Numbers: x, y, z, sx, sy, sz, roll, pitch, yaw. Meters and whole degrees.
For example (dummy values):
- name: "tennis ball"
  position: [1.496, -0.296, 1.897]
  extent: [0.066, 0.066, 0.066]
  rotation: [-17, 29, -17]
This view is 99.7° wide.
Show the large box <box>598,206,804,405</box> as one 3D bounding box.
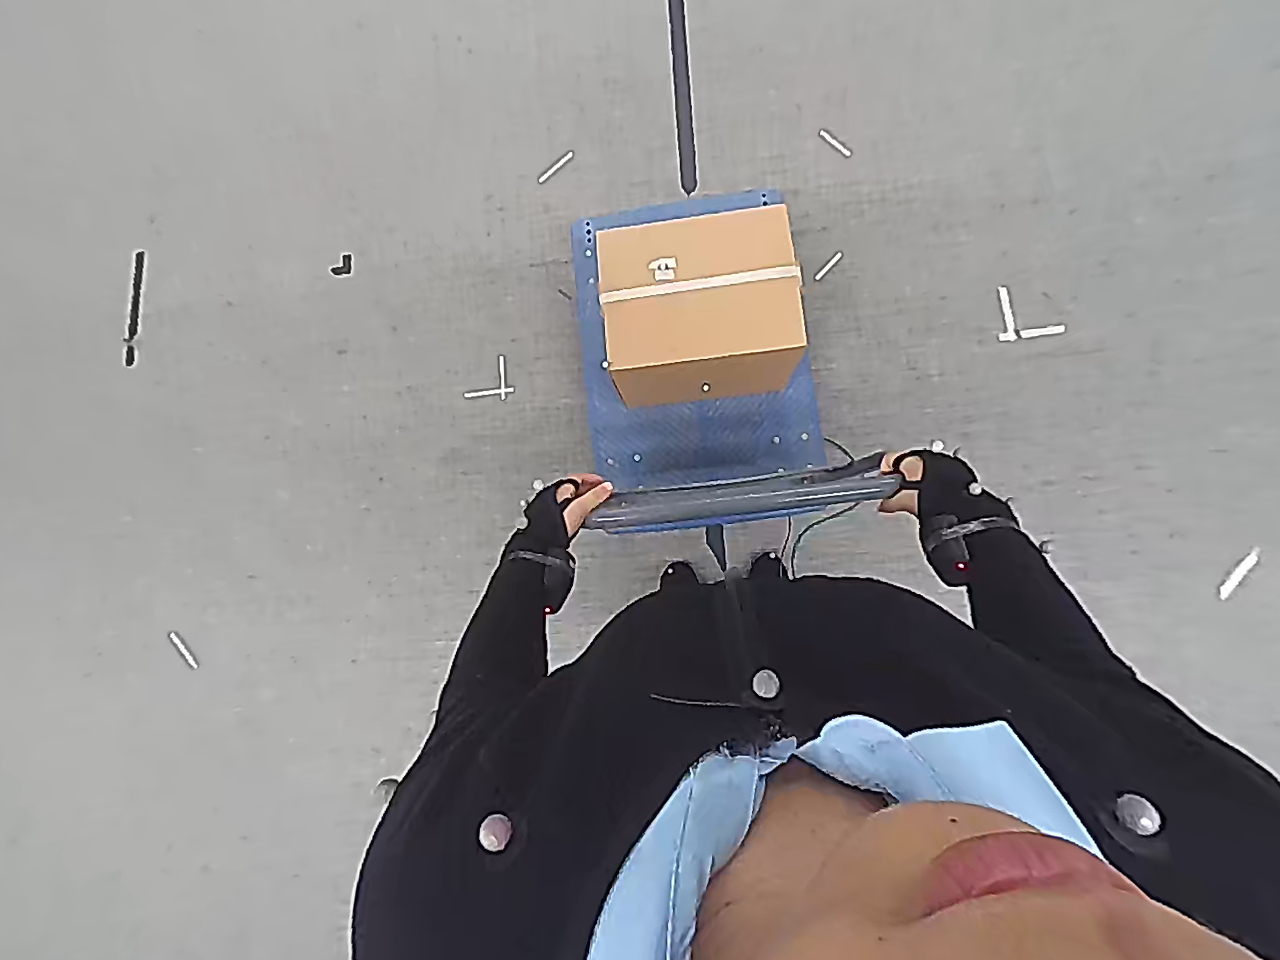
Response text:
- name: "large box"
  position: [0.139, -0.384, 1.280]
  extent: [0.408, 0.320, 0.320]
  rotation: [-7, 81, 6]
